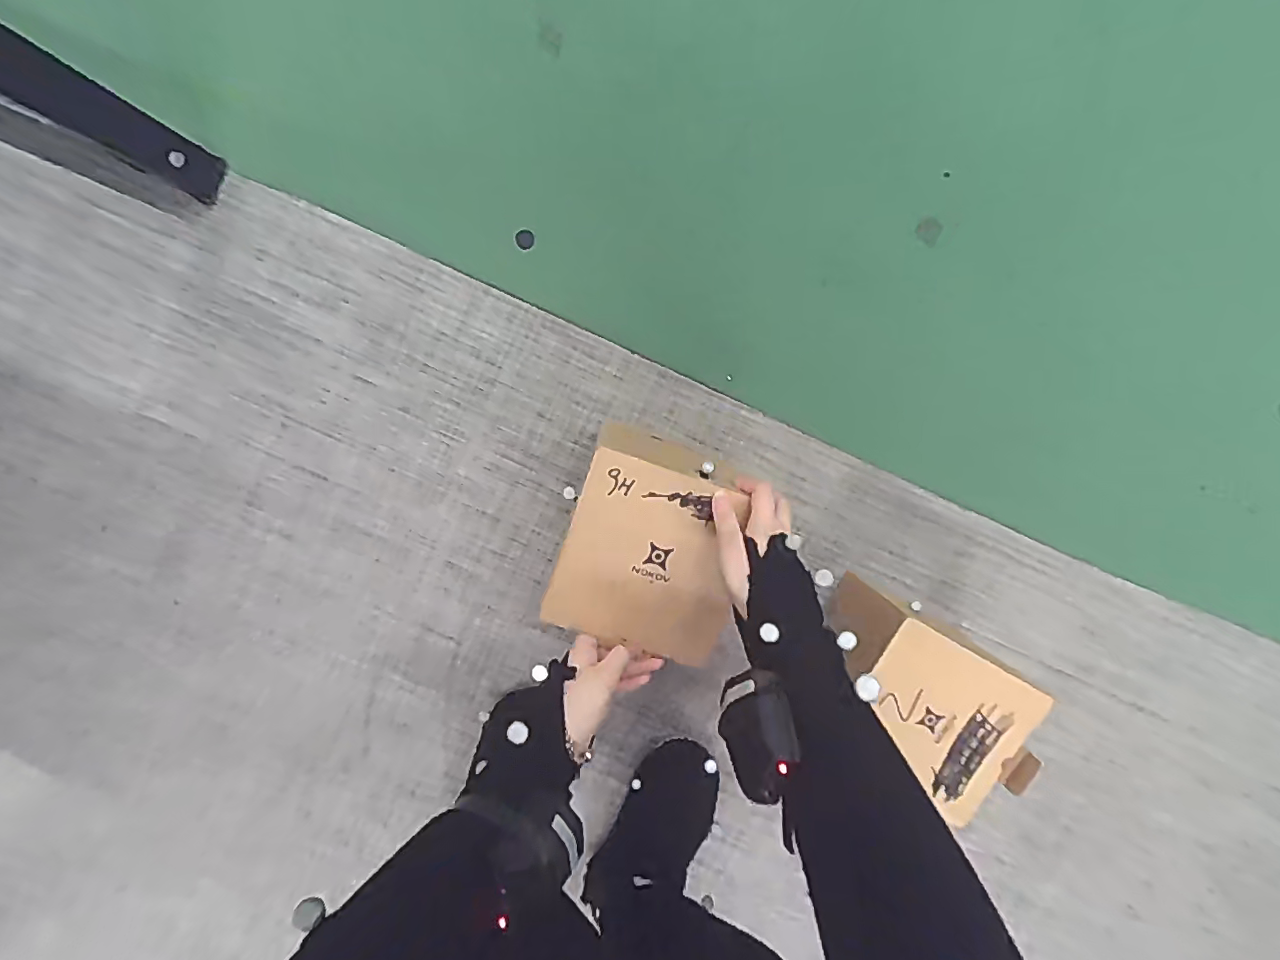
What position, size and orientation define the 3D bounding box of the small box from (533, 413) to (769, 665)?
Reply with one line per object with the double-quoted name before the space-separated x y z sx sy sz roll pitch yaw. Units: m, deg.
"small box" 0.006 0.047 0.548 0.168 0.176 0.179 18 104 -7
